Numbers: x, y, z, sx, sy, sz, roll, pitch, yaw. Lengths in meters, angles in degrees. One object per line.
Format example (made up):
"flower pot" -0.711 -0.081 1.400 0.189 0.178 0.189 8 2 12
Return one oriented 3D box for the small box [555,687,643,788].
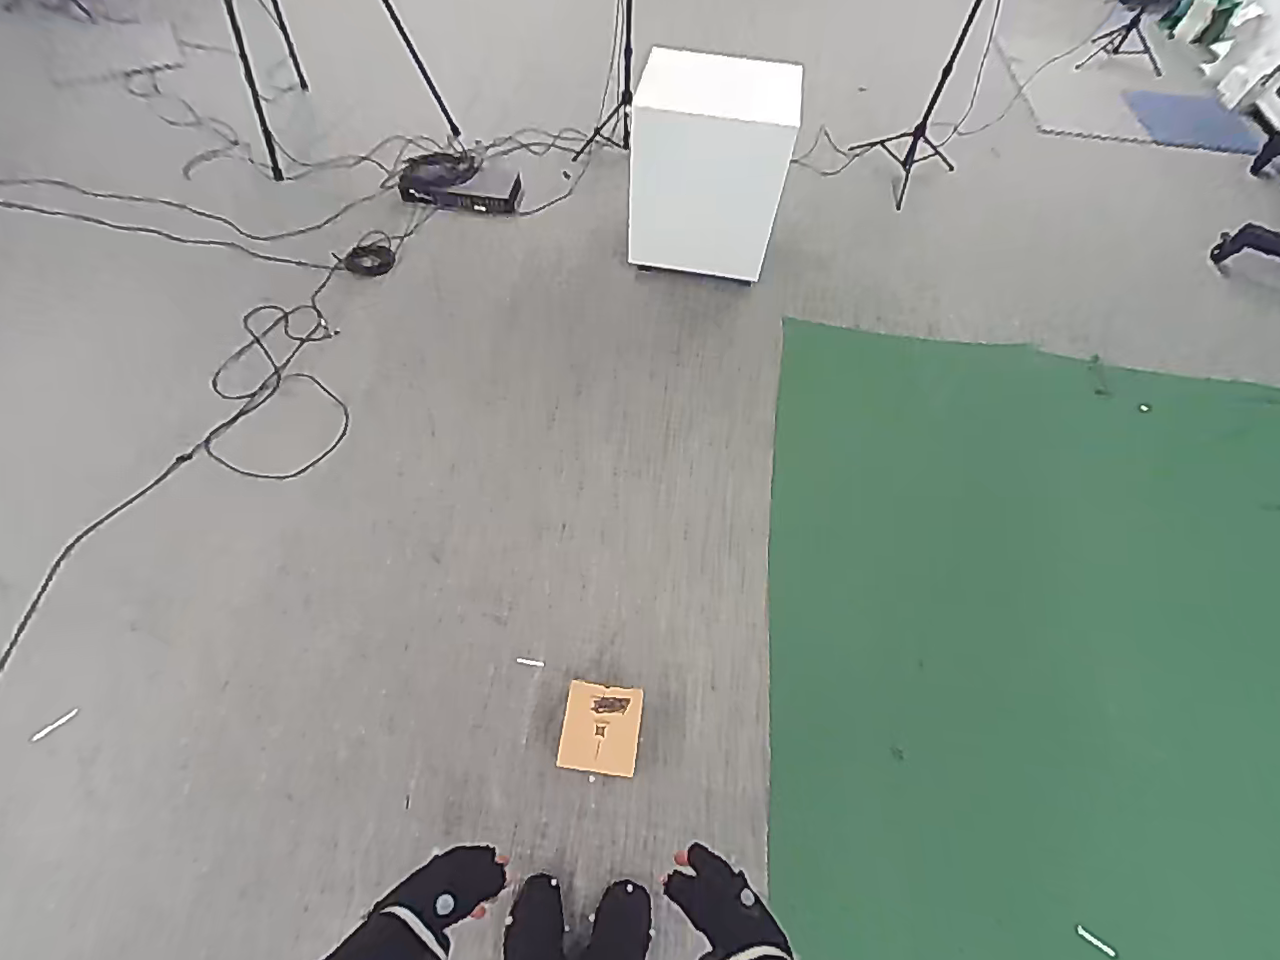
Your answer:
"small box" -0.091 0.583 1.220 0.168 0.176 0.179 8 60 1
